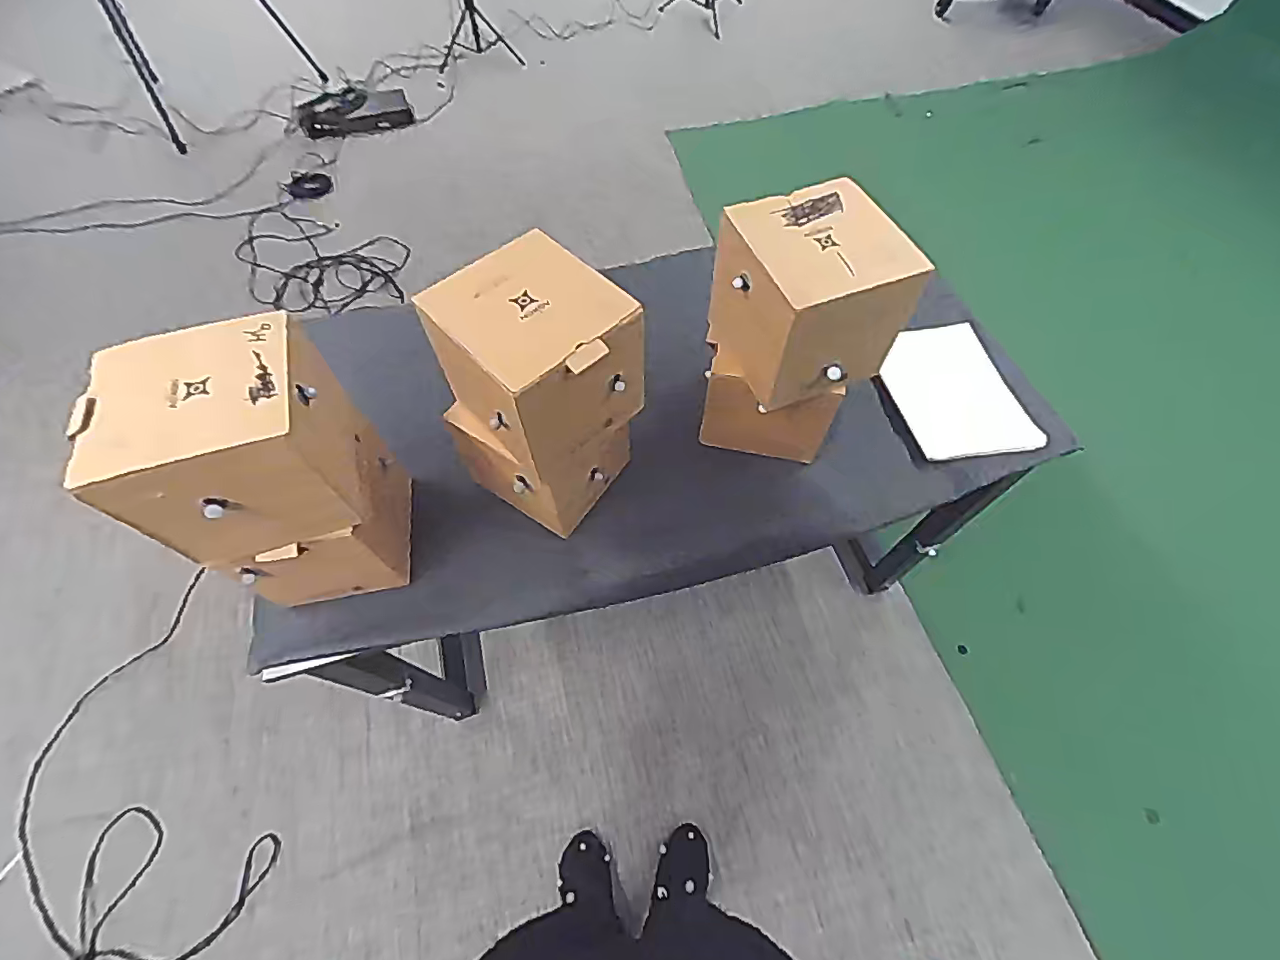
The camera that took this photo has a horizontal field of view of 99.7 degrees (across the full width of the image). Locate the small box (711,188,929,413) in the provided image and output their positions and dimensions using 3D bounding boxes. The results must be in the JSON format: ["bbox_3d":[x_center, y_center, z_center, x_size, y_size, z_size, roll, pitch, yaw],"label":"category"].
[{"bbox_3d":[0.197,-0.213,0.656,0.168,0.176,0.179,-19,61,-9],"label":"small box"}]

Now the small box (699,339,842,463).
[{"bbox_3d":[0.192,-0.143,0.806,0.179,0.176,0.168,11,60,8],"label":"small box"}]

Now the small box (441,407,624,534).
[{"bbox_3d":[-0.134,-0.047,0.753,0.179,0.176,0.168,30,64,16],"label":"small box"}]

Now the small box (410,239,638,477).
[{"bbox_3d":[-0.116,-0.127,0.611,0.168,0.176,0.179,-40,67,-21],"label":"small box"}]

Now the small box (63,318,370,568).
[{"bbox_3d":[-0.407,-0.030,0.556,0.179,0.176,0.168,-17,60,-9],"label":"small box"}]
